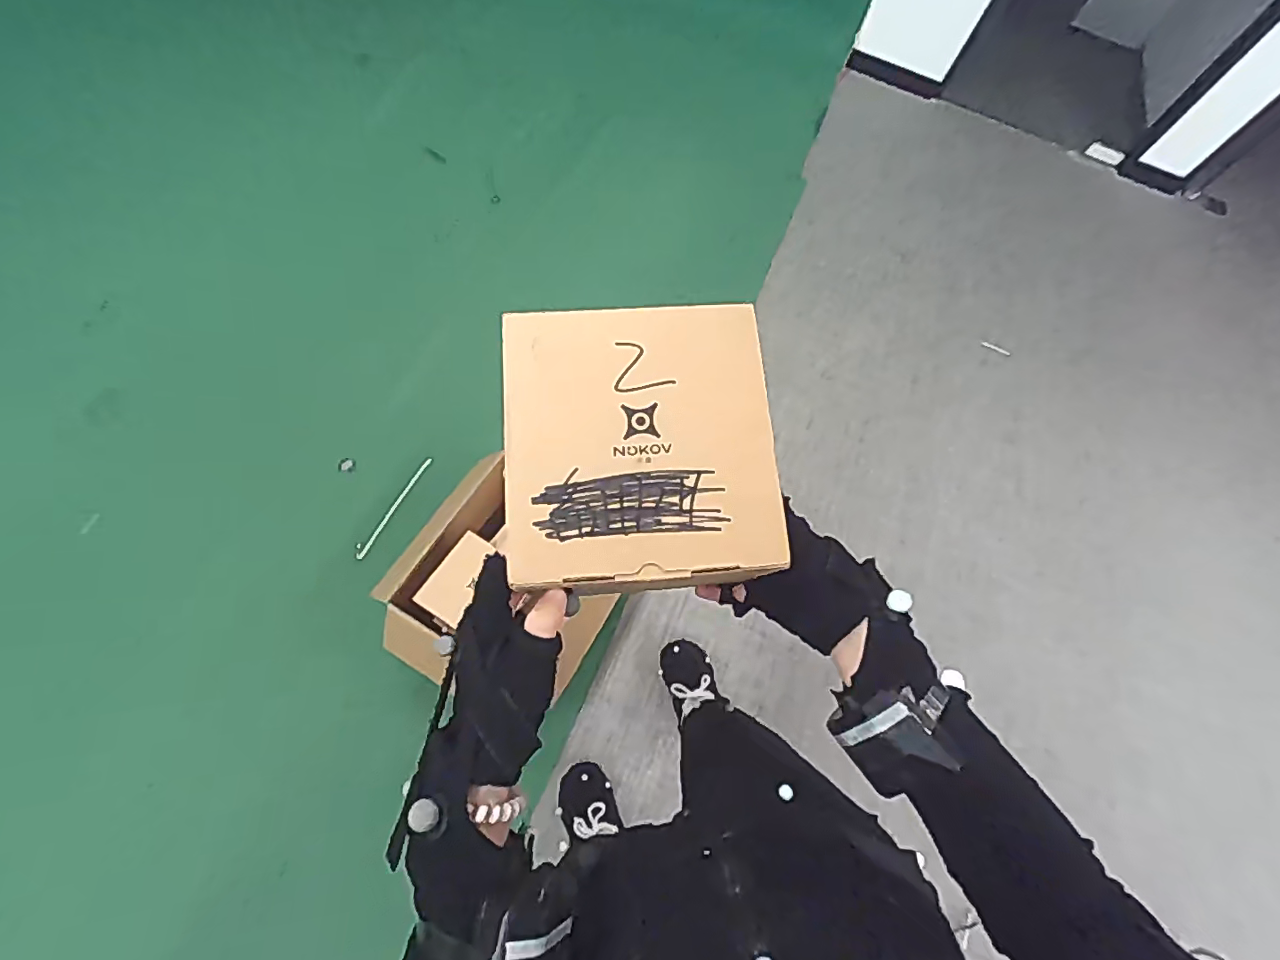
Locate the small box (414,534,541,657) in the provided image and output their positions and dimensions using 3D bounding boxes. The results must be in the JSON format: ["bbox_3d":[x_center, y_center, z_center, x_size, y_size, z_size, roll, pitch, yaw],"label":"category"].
[{"bbox_3d":[-0.318,0.242,1.097,0.179,0.176,0.168,33,67,6],"label":"small box"}]
